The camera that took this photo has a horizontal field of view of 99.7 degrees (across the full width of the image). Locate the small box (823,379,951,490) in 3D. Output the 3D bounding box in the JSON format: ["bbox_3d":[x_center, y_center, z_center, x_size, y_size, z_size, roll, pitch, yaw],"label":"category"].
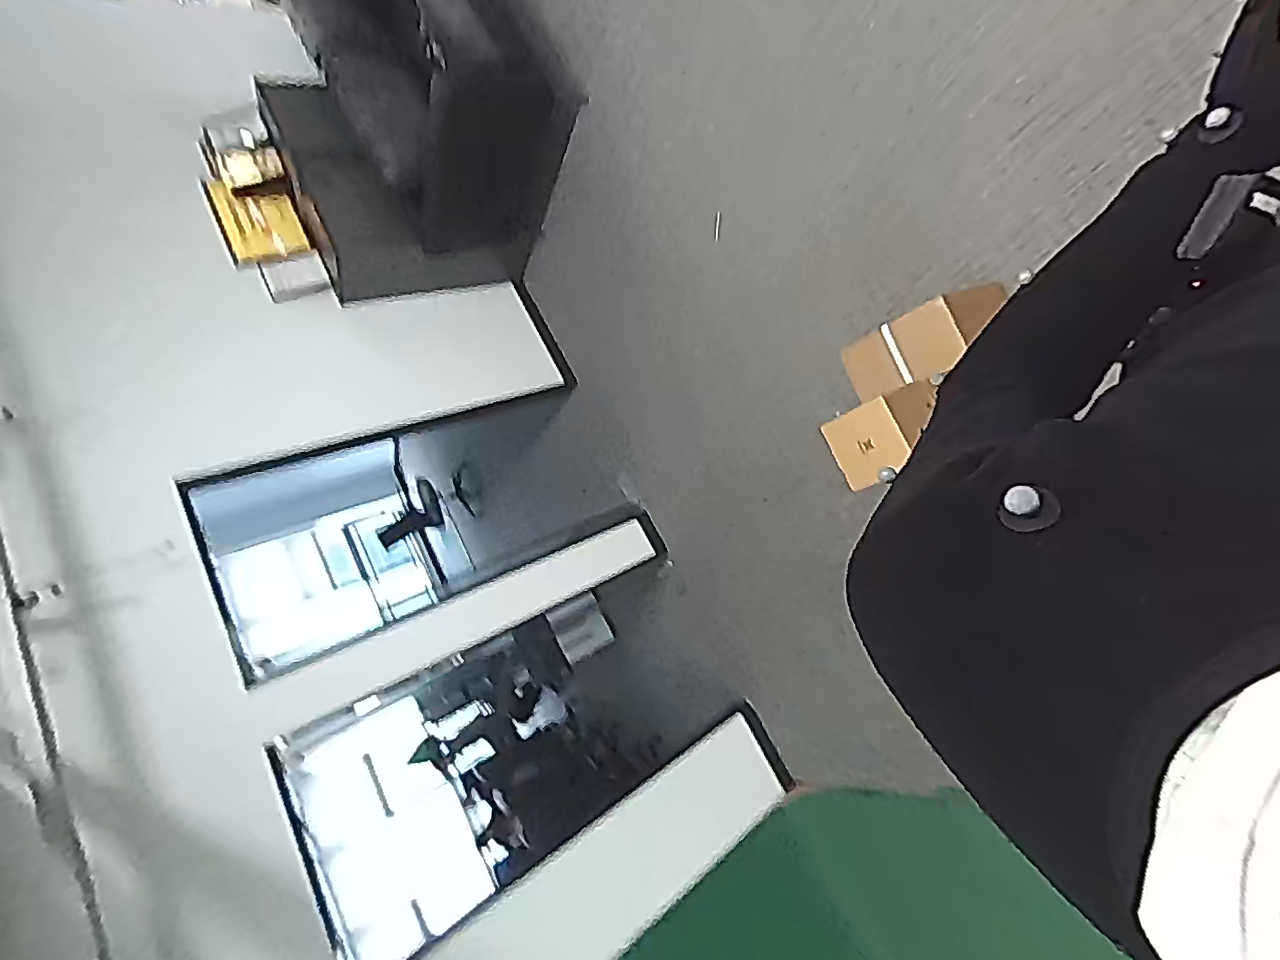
[{"bbox_3d":[0.553,-0.103,1.198,0.168,0.176,0.179,64,148,6],"label":"small box"}]

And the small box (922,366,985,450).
[{"bbox_3d":[0.682,-0.151,1.285,0.179,0.176,0.168,-35,79,56],"label":"small box"}]
